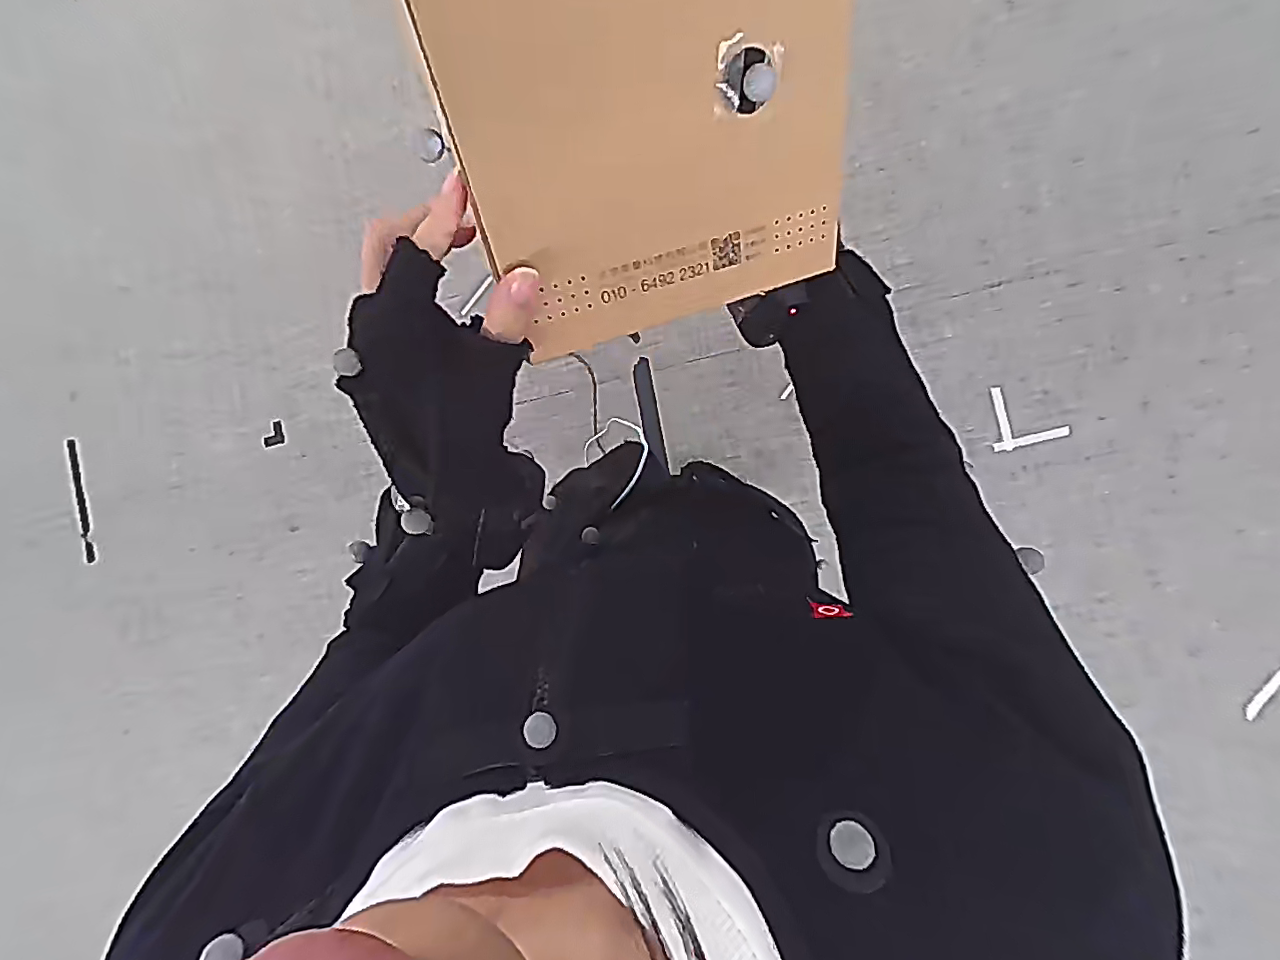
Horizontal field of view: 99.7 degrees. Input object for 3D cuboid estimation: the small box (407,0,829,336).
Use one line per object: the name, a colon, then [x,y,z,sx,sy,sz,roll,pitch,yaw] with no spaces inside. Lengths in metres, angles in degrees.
small box: [-0.014,-0.192,0.283,0.168,0.179,0.176,-18,130,-8]
